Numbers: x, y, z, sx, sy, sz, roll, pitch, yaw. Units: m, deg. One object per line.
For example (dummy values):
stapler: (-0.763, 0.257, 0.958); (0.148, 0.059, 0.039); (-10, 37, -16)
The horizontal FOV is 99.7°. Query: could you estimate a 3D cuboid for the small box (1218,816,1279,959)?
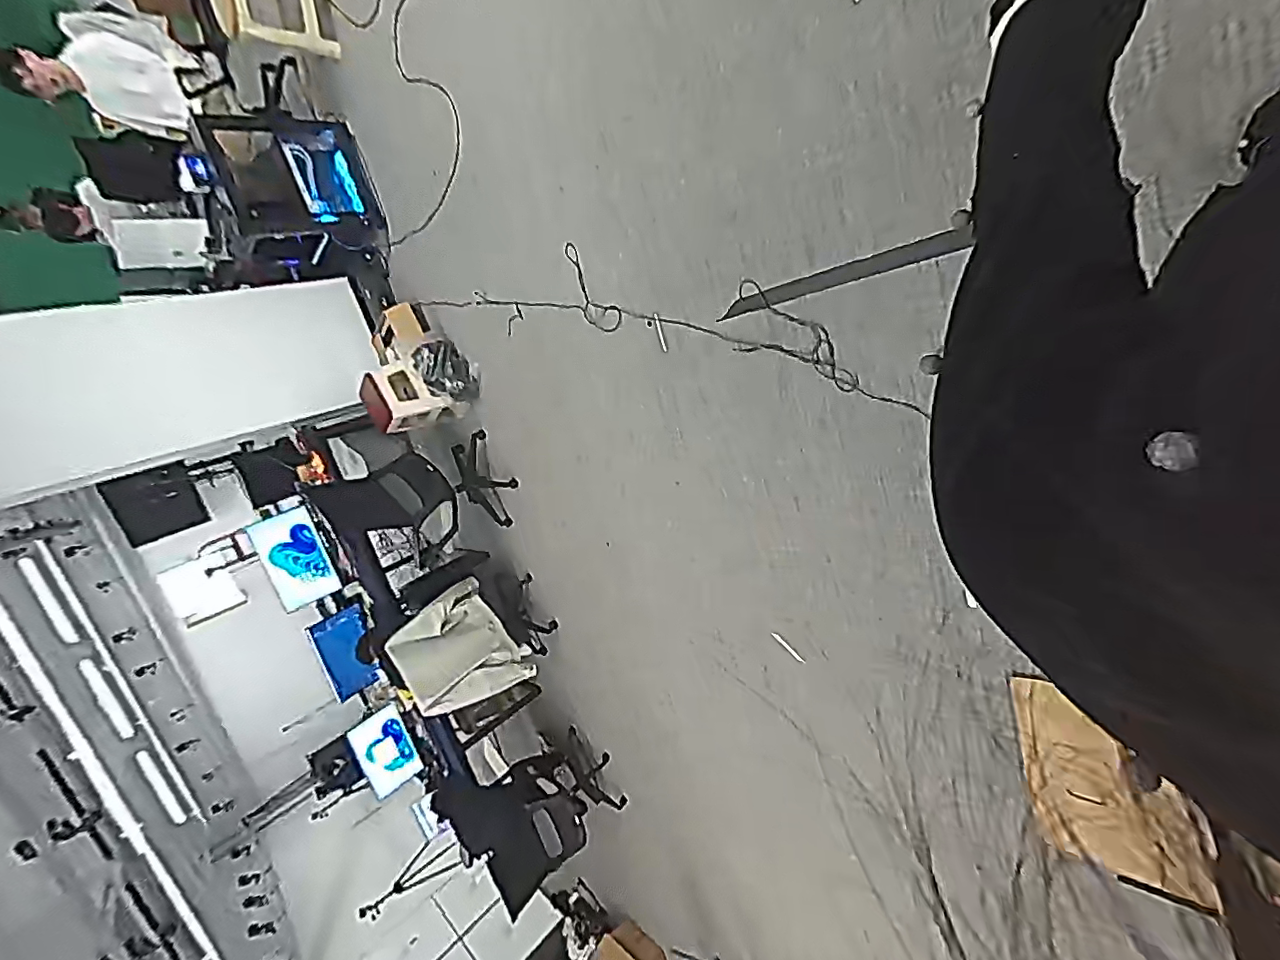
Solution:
small box: (1.270, 0.819, 1.071); (0.168, 0.176, 0.179); (0, 112, 48)
